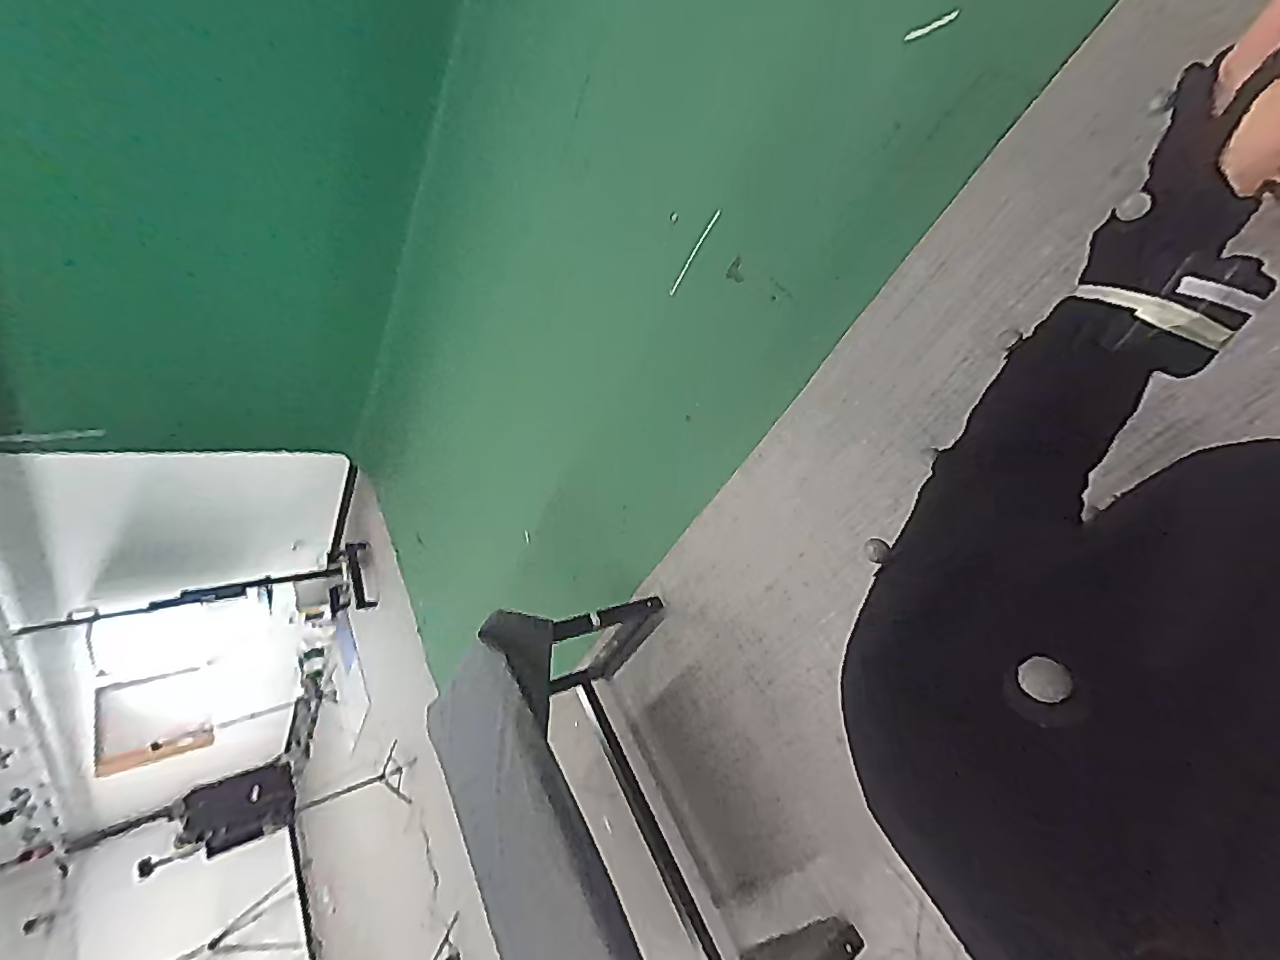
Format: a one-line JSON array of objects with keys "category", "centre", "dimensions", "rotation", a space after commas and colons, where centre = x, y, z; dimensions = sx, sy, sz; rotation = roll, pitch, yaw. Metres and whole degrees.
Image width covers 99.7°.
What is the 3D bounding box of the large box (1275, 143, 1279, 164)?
[{"category": "large box", "centre": [0.601, -0.285, 0.202], "dimensions": [0.408, 0.320, 0.320], "rotation": [25, 118, 48]}]
